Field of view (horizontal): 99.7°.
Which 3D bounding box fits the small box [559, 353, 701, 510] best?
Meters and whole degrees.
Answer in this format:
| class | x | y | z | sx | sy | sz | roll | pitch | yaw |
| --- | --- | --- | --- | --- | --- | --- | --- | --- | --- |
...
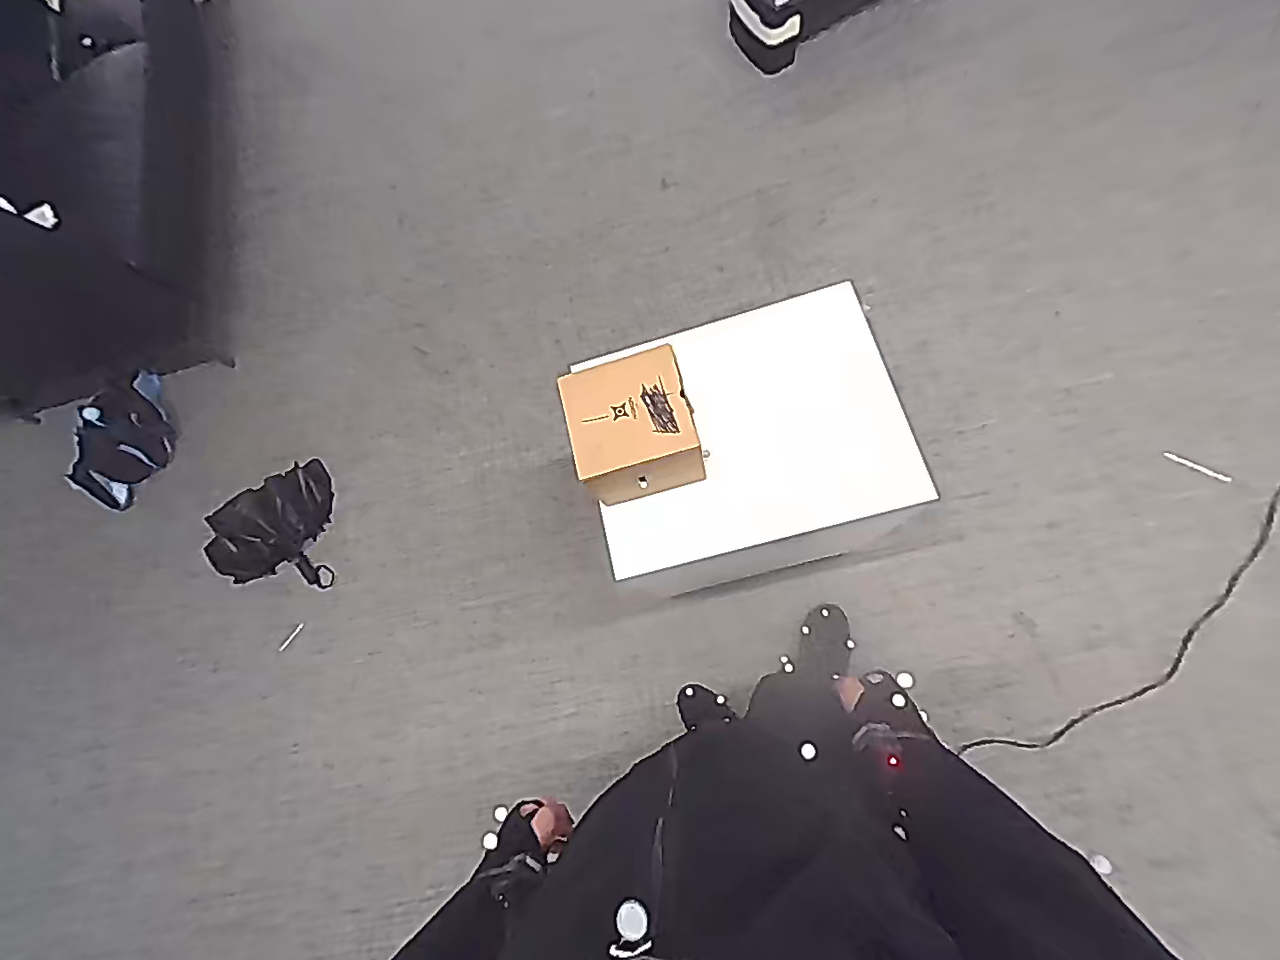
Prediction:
| class | x | y | z | sx | sy | sz | roll | pitch | yaw |
| --- | --- | --- | --- | --- | --- | --- | --- | --- | --- |
| small box | -0.007 | -0.065 | 0.834 | 0.179 | 0.176 | 0.168 | -16 | 72 | 6 |
